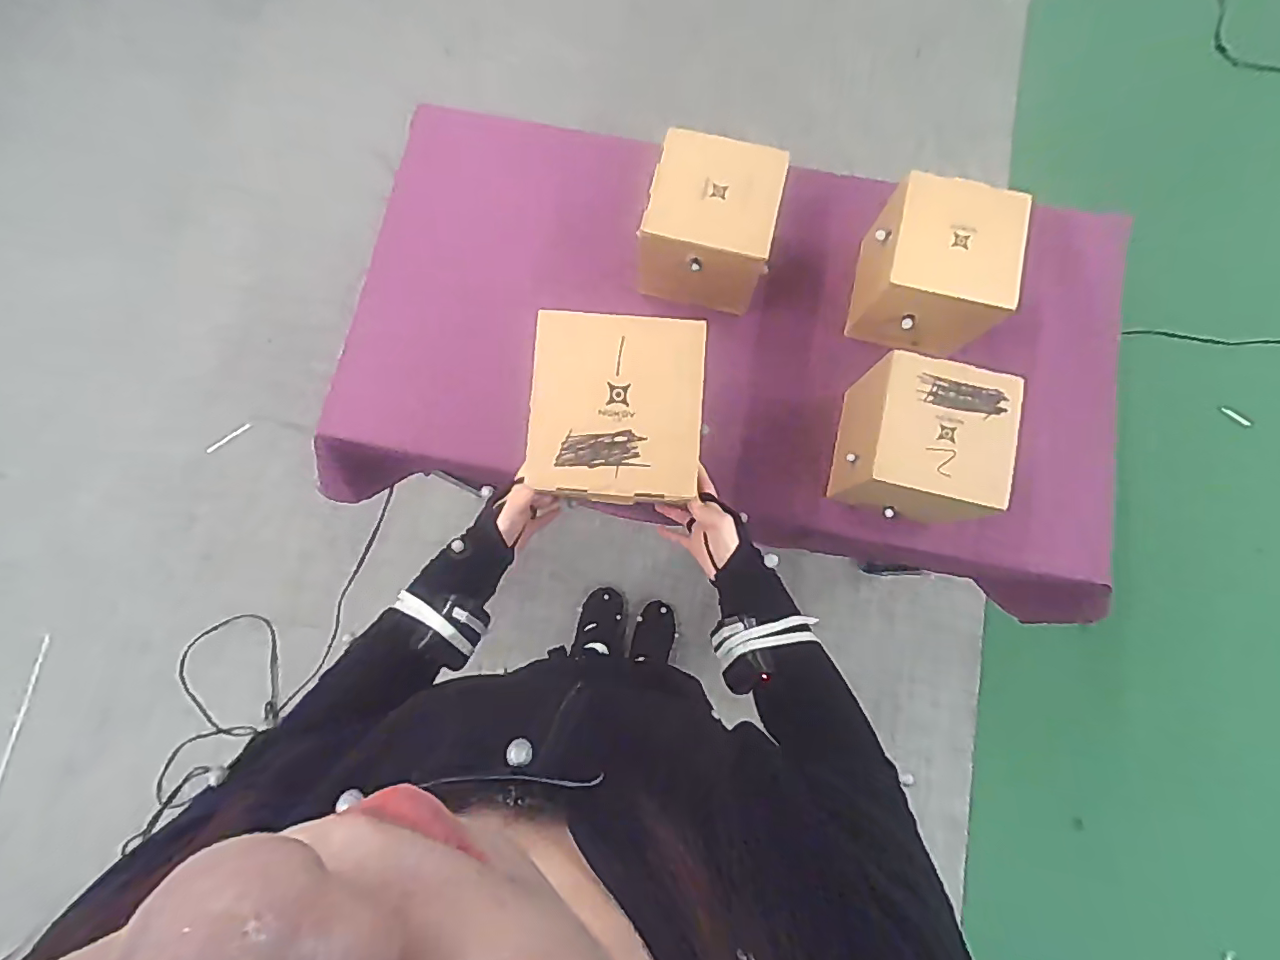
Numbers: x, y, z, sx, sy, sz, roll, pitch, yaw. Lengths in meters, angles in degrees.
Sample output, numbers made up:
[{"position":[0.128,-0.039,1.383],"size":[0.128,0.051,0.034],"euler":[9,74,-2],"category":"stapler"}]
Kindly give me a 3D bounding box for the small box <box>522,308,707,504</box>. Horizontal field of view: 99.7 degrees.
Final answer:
[{"position":[-0.024,-0.067,0.592],"size":[0.168,0.176,0.179],"euler":[5,85,-1],"category":"small box"}]

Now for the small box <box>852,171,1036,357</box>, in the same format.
[{"position":[0.427,-0.301,0.787],"size":[0.168,0.176,0.179],"euler":[14,80,4],"category":"small box"}]

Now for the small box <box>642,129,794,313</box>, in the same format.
[{"position":[0.106,-0.372,0.805],"size":[0.179,0.176,0.168],"euler":[14,81,2],"category":"small box"}]
